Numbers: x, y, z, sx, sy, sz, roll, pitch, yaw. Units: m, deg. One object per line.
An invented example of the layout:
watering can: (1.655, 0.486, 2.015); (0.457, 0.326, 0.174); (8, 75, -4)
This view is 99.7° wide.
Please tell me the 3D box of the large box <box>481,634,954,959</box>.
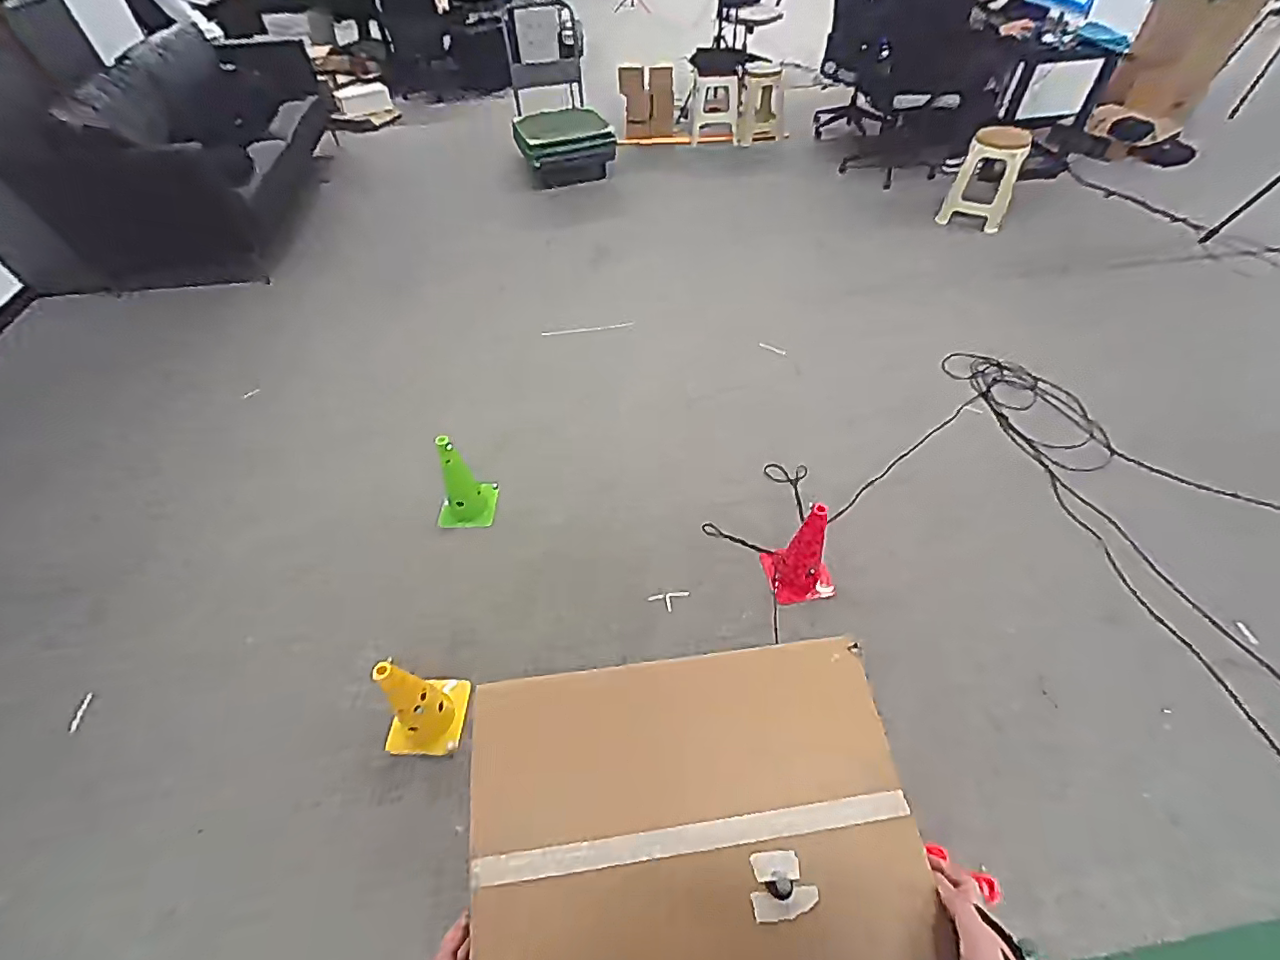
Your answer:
large box: (0.049, 0.401, 0.634); (0.408, 0.320, 0.320); (-7, 61, -5)

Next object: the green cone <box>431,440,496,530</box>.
green cone: (-0.650, -0.007, 1.872); (0.200, 0.368, 0.202); (-3, 52, 0)

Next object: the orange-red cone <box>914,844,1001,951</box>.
orange-red cone: (0.637, 0.853, 1.115); (0.199, 0.360, 0.198); (-1, 51, -1)
